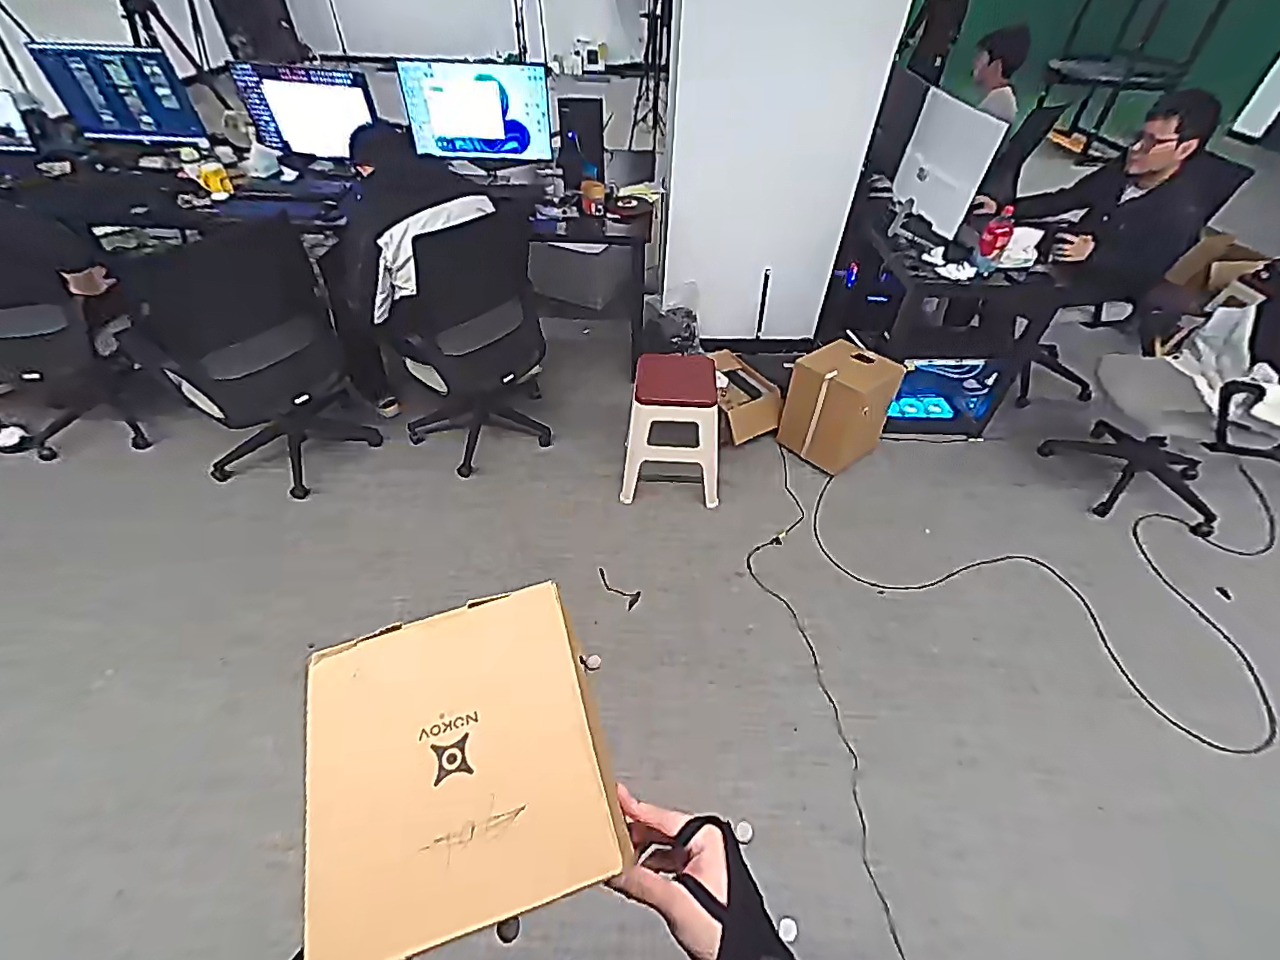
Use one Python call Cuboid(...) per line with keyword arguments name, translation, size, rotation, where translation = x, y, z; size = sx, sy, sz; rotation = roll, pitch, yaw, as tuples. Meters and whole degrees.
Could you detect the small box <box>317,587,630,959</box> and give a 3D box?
Cuboid(name="small box", translation=(-0.109, 0.207, 0.398), size=(0.168, 0.176, 0.179), rotation=(-15, 59, -8))
